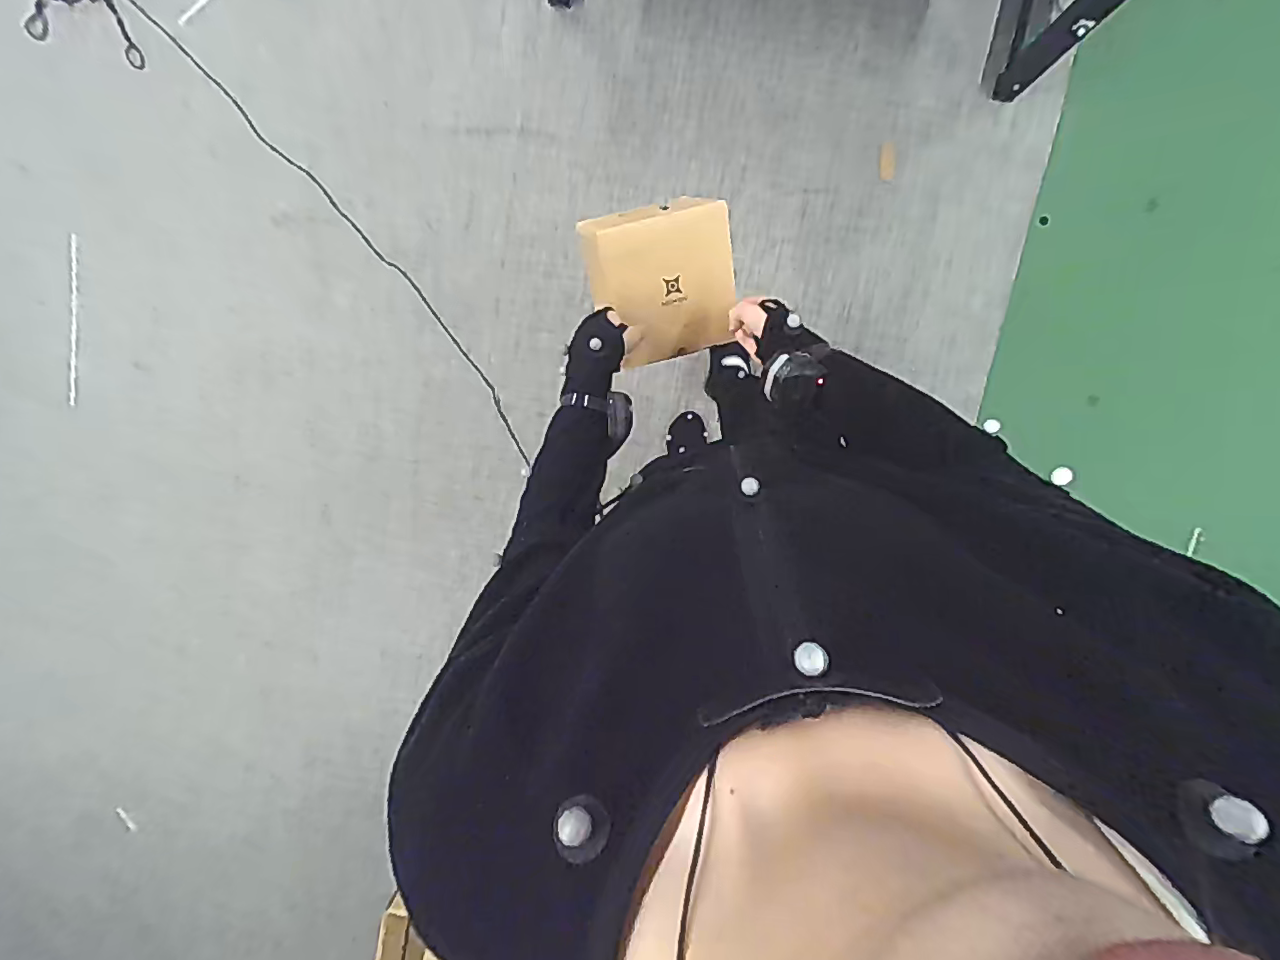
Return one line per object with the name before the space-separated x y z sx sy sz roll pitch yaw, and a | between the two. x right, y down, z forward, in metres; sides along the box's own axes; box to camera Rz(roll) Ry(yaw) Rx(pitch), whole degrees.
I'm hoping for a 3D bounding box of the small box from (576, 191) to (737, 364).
small box | 0.018 -0.282 0.738 0.168 0.176 0.179 -16 122 -6
